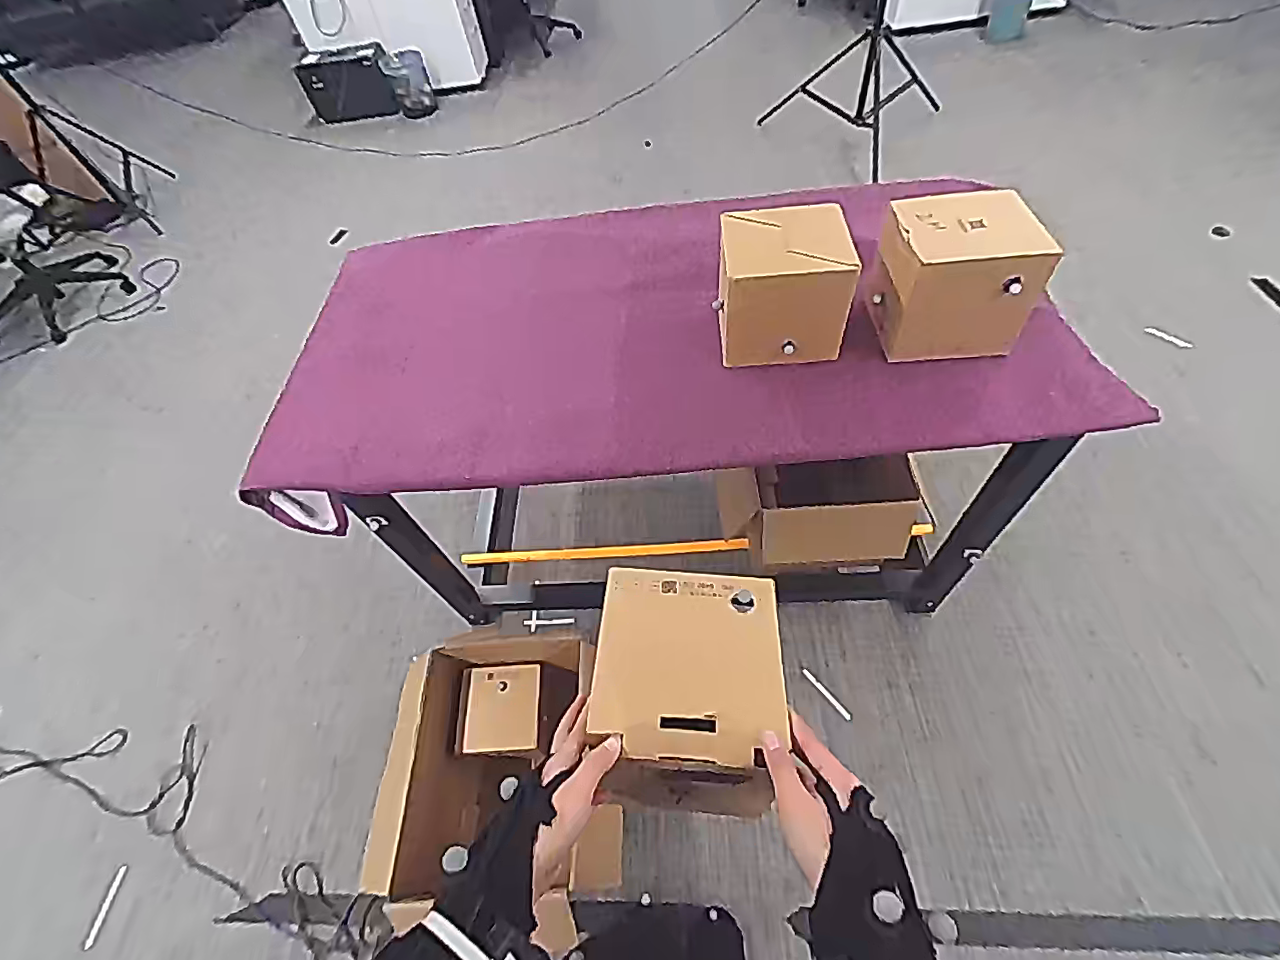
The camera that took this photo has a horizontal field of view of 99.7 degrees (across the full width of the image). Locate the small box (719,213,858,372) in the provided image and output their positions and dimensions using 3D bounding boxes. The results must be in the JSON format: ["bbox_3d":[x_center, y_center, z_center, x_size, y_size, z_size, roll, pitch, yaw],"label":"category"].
[{"bbox_3d":[0.216,-0.288,0.835,0.179,0.176,0.168,-3,53,6],"label":"small box"}]

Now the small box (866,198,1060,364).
[{"bbox_3d":[0.460,-0.291,0.805,0.179,0.176,0.168,-3,52,6],"label":"small box"}]
